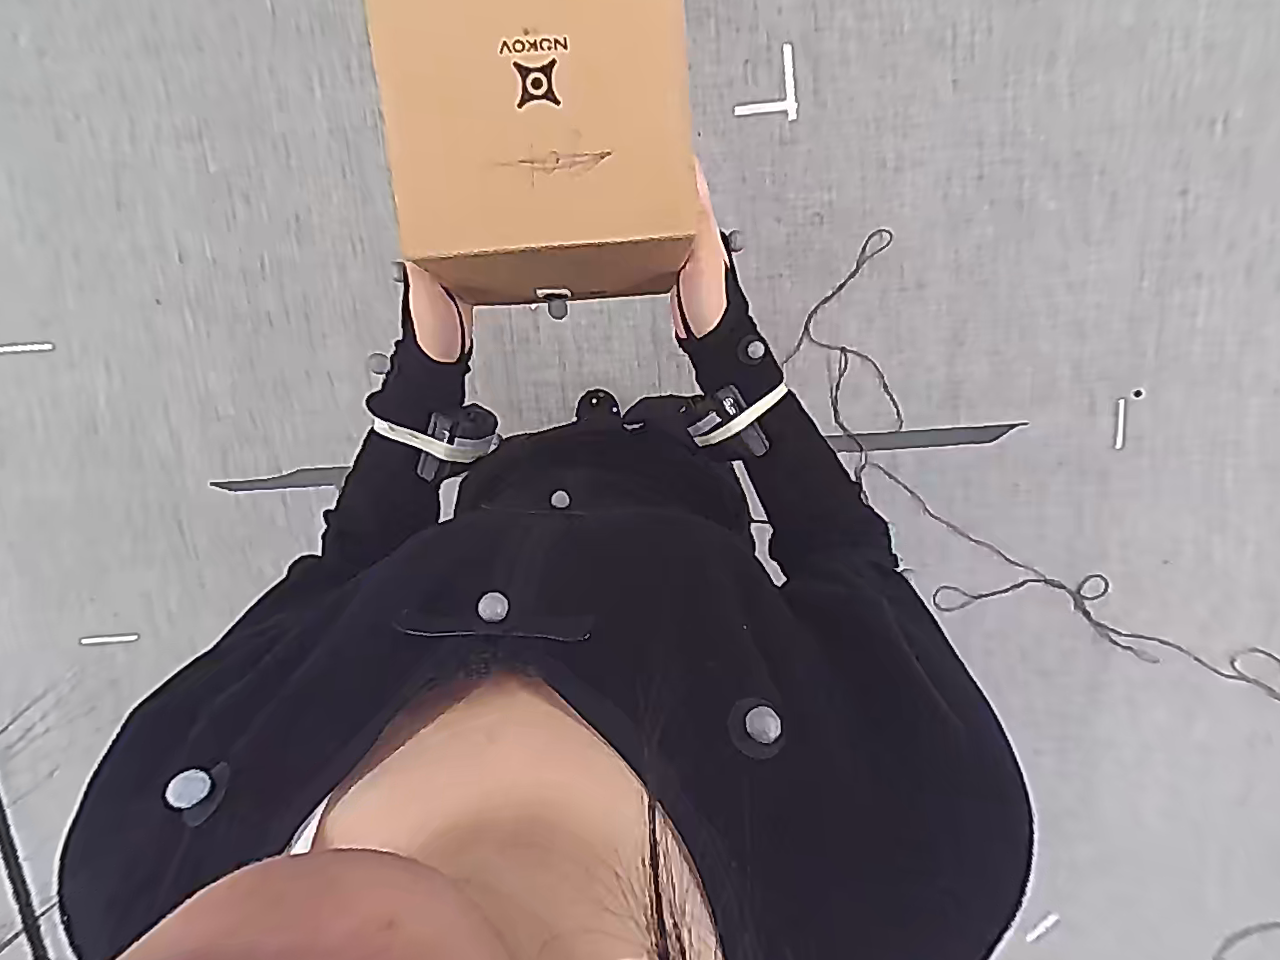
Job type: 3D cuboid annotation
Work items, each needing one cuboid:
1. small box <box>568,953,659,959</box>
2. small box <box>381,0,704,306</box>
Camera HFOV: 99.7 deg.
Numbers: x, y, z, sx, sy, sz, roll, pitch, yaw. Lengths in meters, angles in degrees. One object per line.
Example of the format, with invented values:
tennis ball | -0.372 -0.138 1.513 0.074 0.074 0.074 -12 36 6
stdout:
small box | -0.038 0.857 0.798 0.168 0.176 0.179 -3 100 -2
small box | -0.055 -0.228 0.370 0.168 0.176 0.179 -6 99 -1
